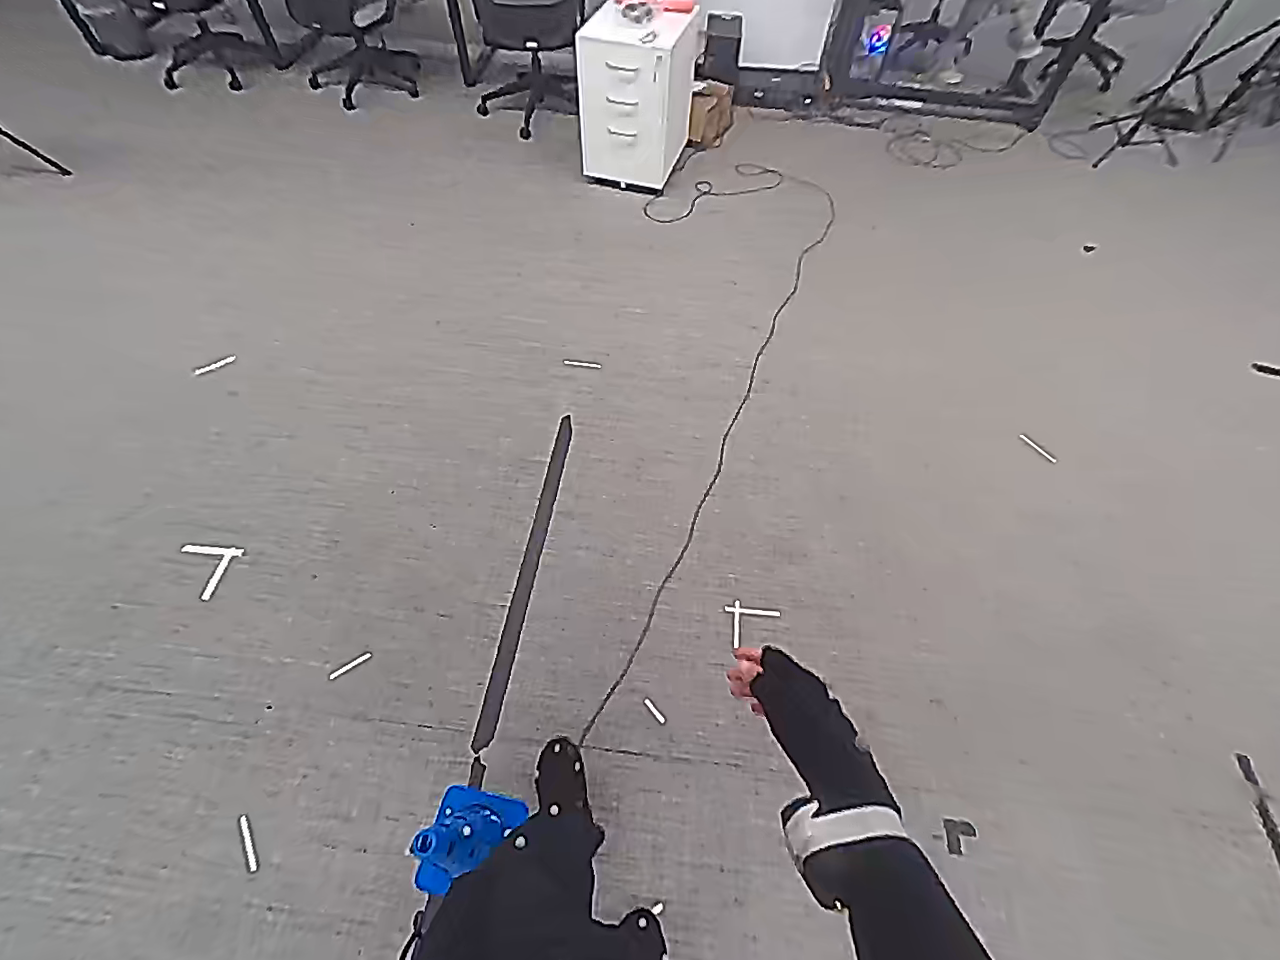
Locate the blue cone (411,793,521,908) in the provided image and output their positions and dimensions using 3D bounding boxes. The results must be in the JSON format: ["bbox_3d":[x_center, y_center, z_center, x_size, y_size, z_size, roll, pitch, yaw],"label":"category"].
[{"bbox_3d":[-0.358,0.700,1.028,0.193,0.380,0.192,10,56,4],"label":"blue cone"}]
